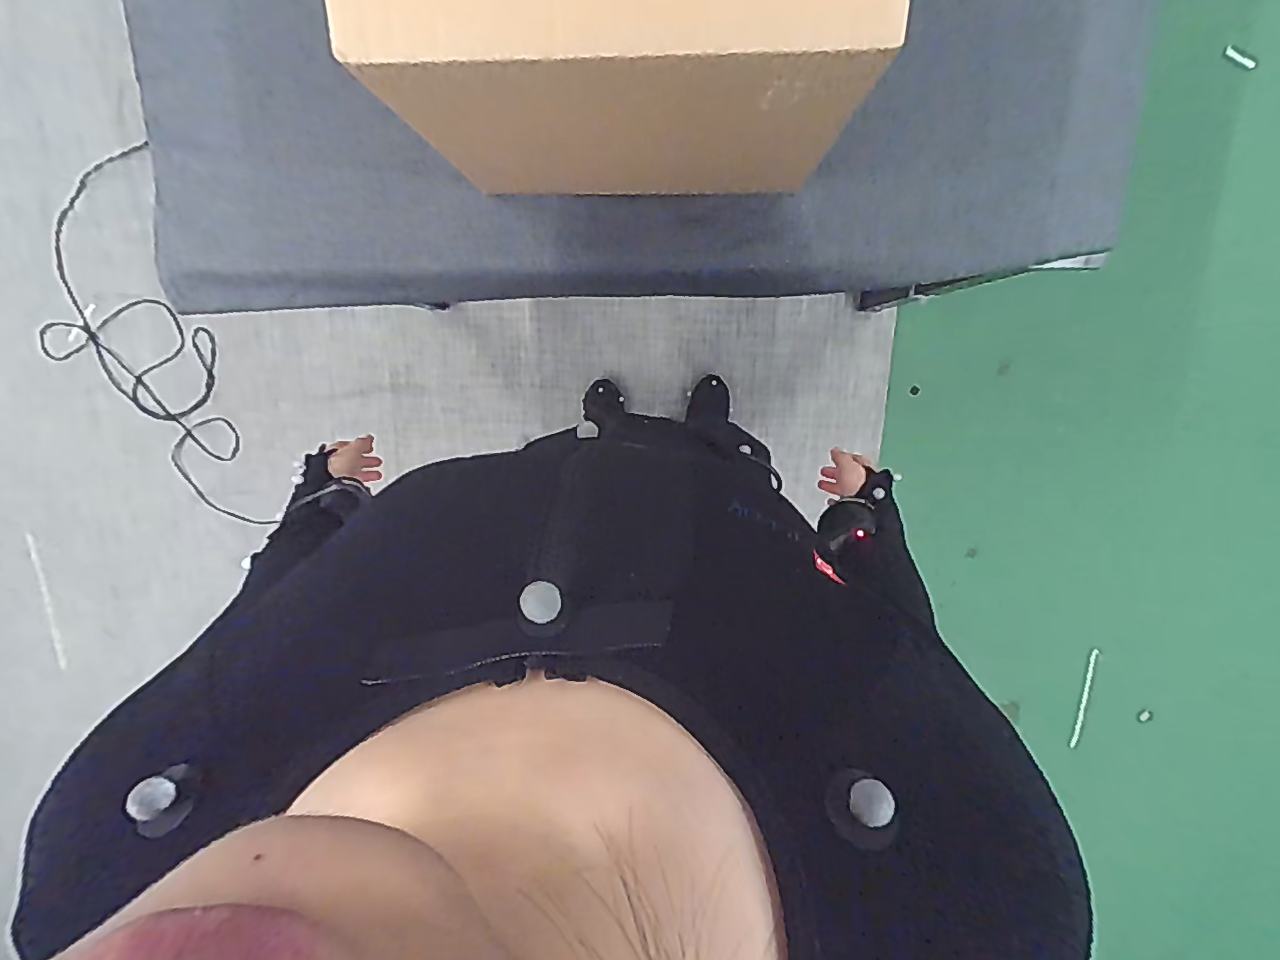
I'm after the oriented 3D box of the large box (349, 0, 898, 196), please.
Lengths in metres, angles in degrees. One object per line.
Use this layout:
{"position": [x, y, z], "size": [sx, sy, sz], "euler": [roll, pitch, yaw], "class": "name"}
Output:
{"position": [-0.011, -0.486, 0.512], "size": [0.408, 0.320, 0.320], "euler": [1, 102, 3], "class": "large box"}
